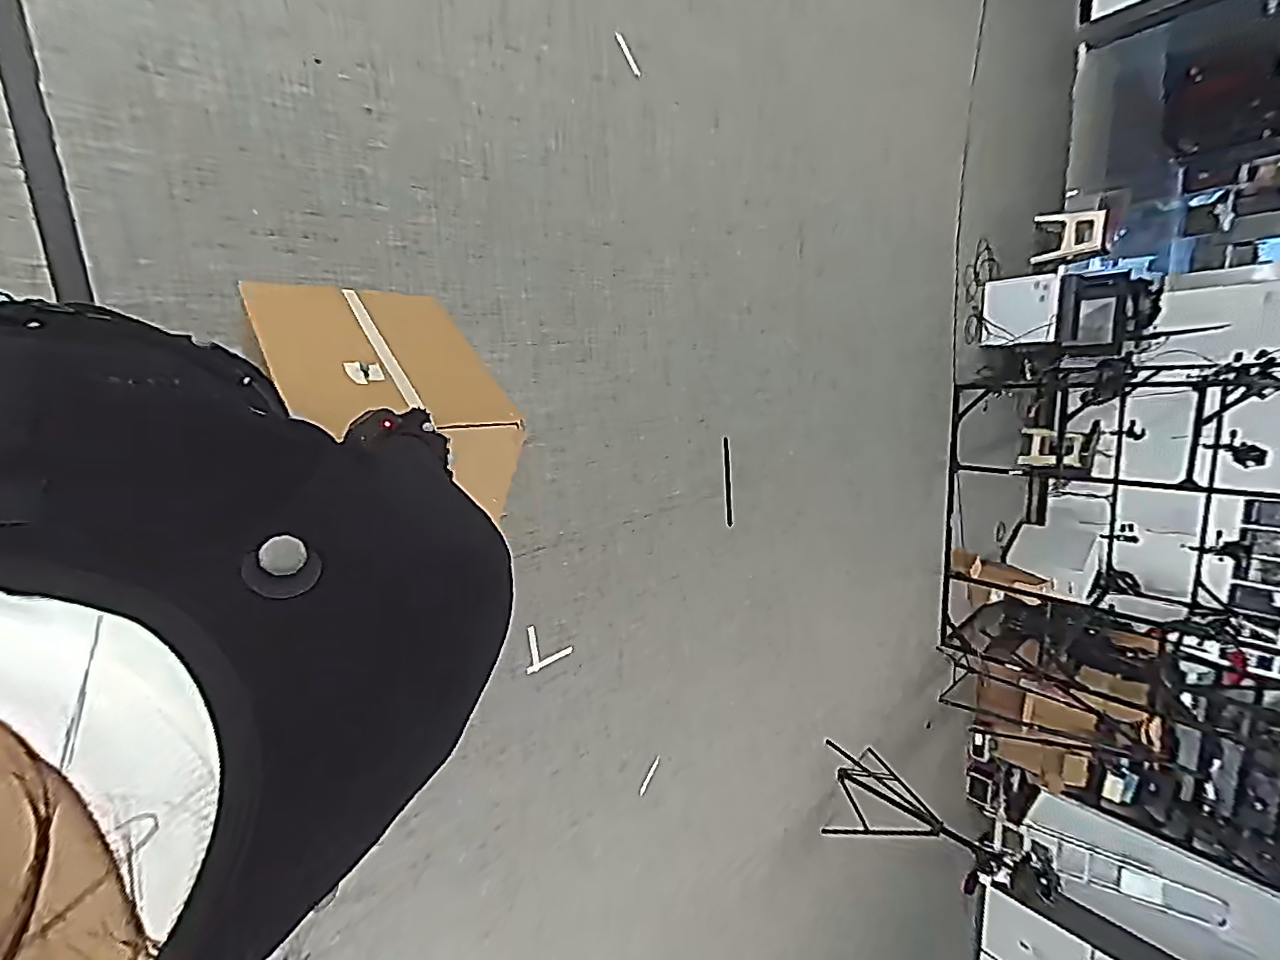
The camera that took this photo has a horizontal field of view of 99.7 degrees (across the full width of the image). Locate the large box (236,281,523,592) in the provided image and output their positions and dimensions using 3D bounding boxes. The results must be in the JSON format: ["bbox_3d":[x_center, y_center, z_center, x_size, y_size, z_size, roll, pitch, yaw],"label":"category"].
[{"bbox_3d":[-0.461,-0.086,0.926,0.320,0.408,0.320,-10,139,-41],"label":"large box"}]
